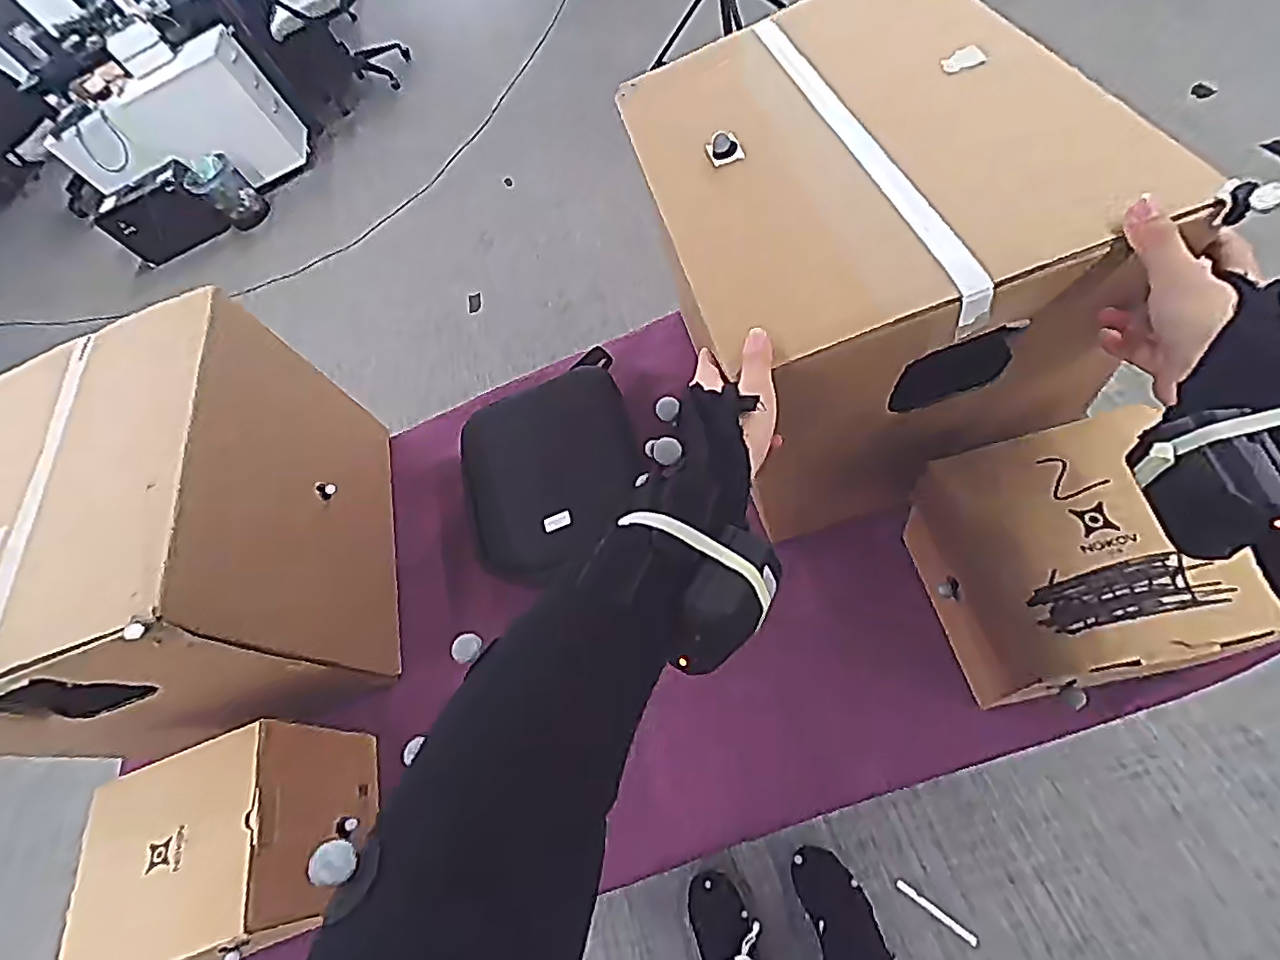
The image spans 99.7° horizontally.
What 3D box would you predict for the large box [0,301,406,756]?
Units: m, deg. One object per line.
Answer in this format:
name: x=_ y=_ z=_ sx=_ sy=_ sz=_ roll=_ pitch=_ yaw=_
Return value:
large box: x=-0.525 y=0.073 z=0.660 sx=0.320 sy=0.320 sz=0.408 roll=-22 pitch=61 yaw=4
